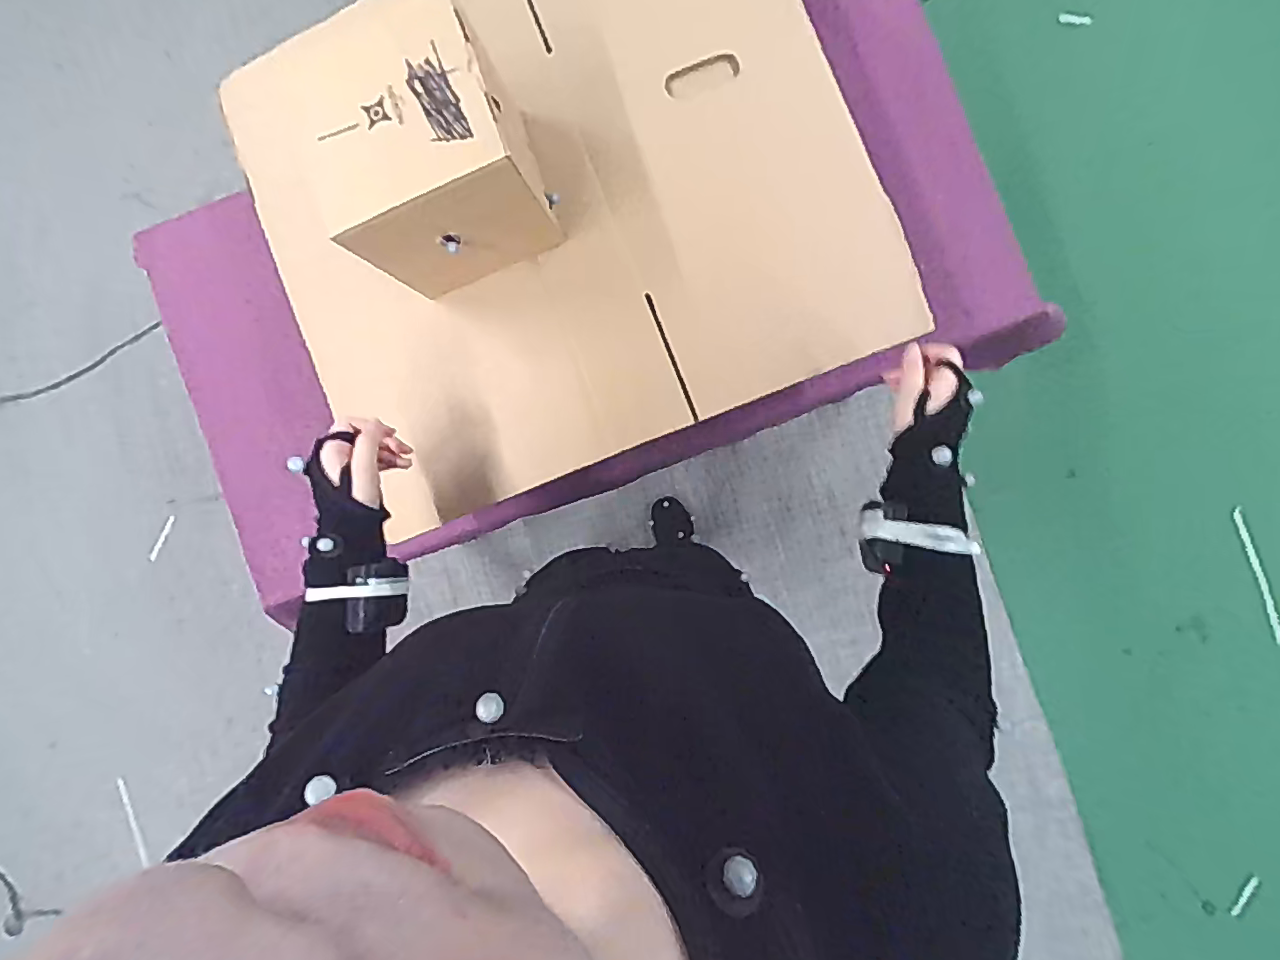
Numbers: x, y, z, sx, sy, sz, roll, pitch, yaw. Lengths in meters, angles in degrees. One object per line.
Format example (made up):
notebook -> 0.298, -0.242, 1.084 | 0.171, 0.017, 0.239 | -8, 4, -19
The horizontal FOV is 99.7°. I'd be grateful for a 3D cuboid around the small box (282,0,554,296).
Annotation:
small box -> -0.202, -0.313, 0.547 | 0.179, 0.176, 0.168 | -20, 88, 9
